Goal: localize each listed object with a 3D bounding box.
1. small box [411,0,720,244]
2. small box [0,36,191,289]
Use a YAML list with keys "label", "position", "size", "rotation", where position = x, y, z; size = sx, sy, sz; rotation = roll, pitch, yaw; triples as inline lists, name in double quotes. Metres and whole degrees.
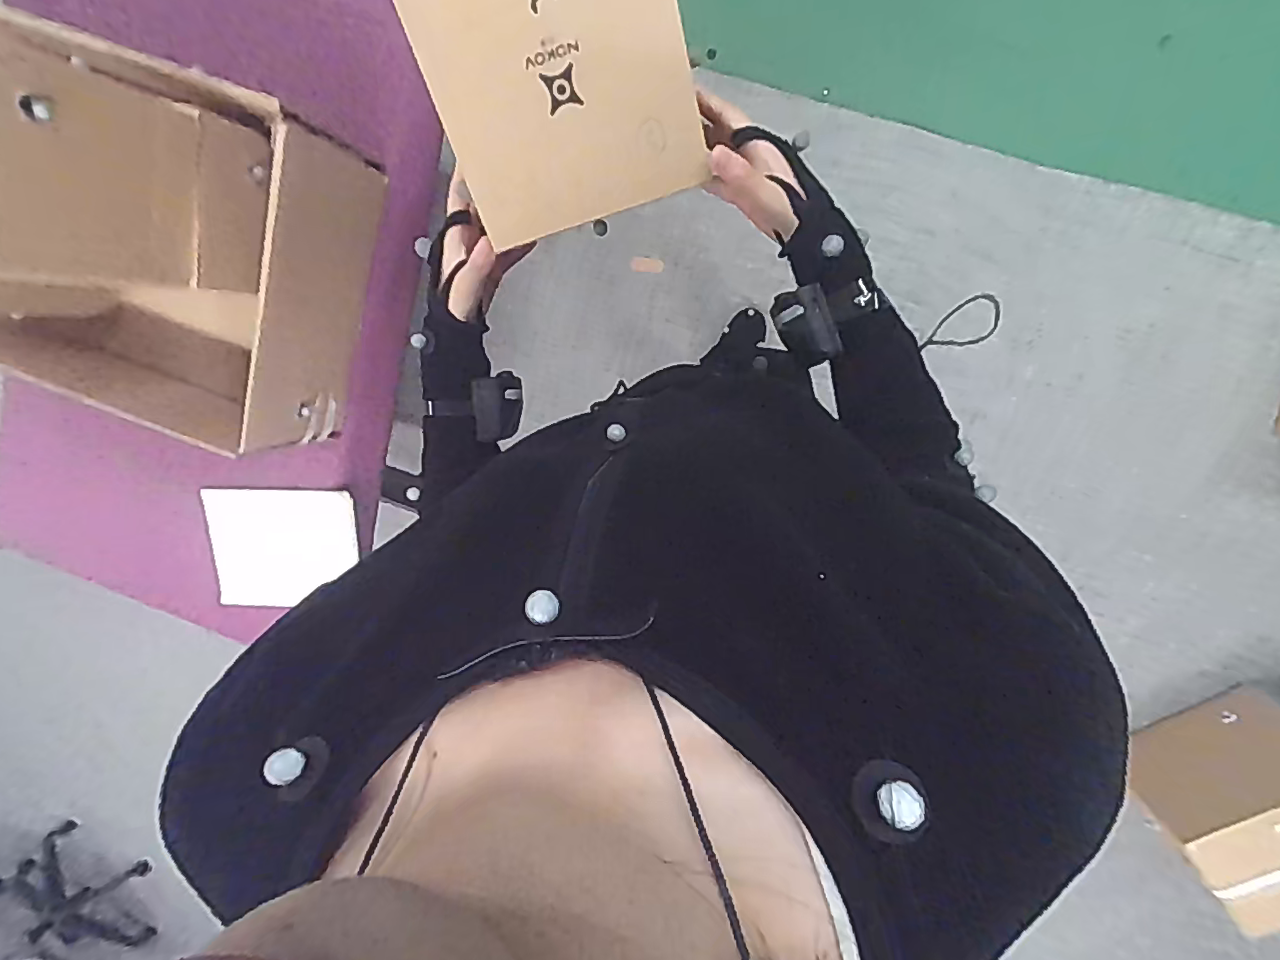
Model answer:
- label: "small box"
  position: [-0.047, -0.299, 0.408]
  size: [0.168, 0.176, 0.179]
  rotation: [-16, 117, 5]
- label: "small box"
  position: [-0.544, -0.282, 0.474]
  size: [0.168, 0.176, 0.179]
  rotation: [21, 106, 4]
